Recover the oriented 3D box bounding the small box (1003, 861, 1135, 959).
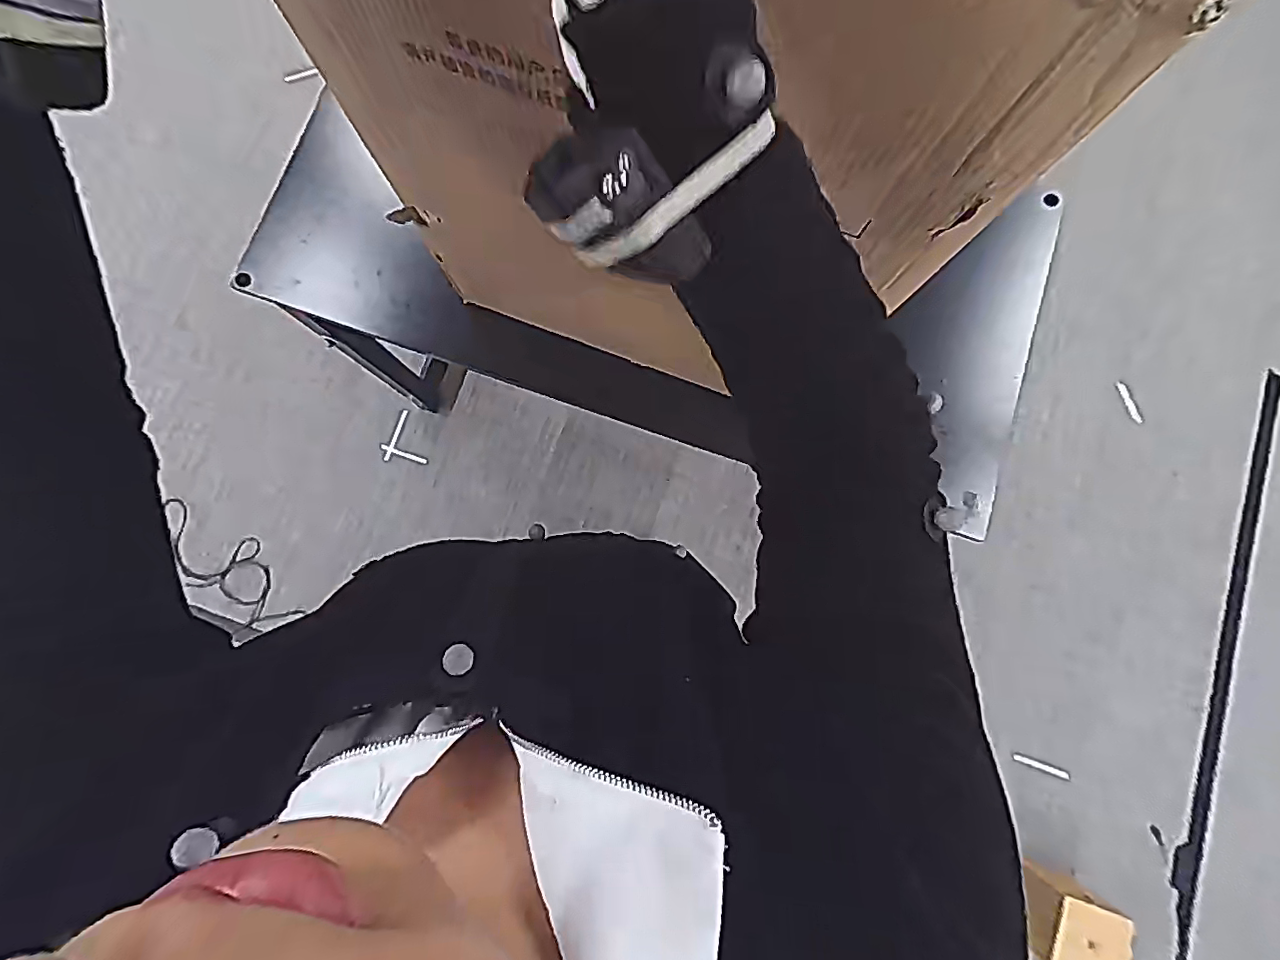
[{"bbox_3d":[1.055,1.095,1.342,0.179,0.176,0.168,19,81,2],"label":"small box"}]
